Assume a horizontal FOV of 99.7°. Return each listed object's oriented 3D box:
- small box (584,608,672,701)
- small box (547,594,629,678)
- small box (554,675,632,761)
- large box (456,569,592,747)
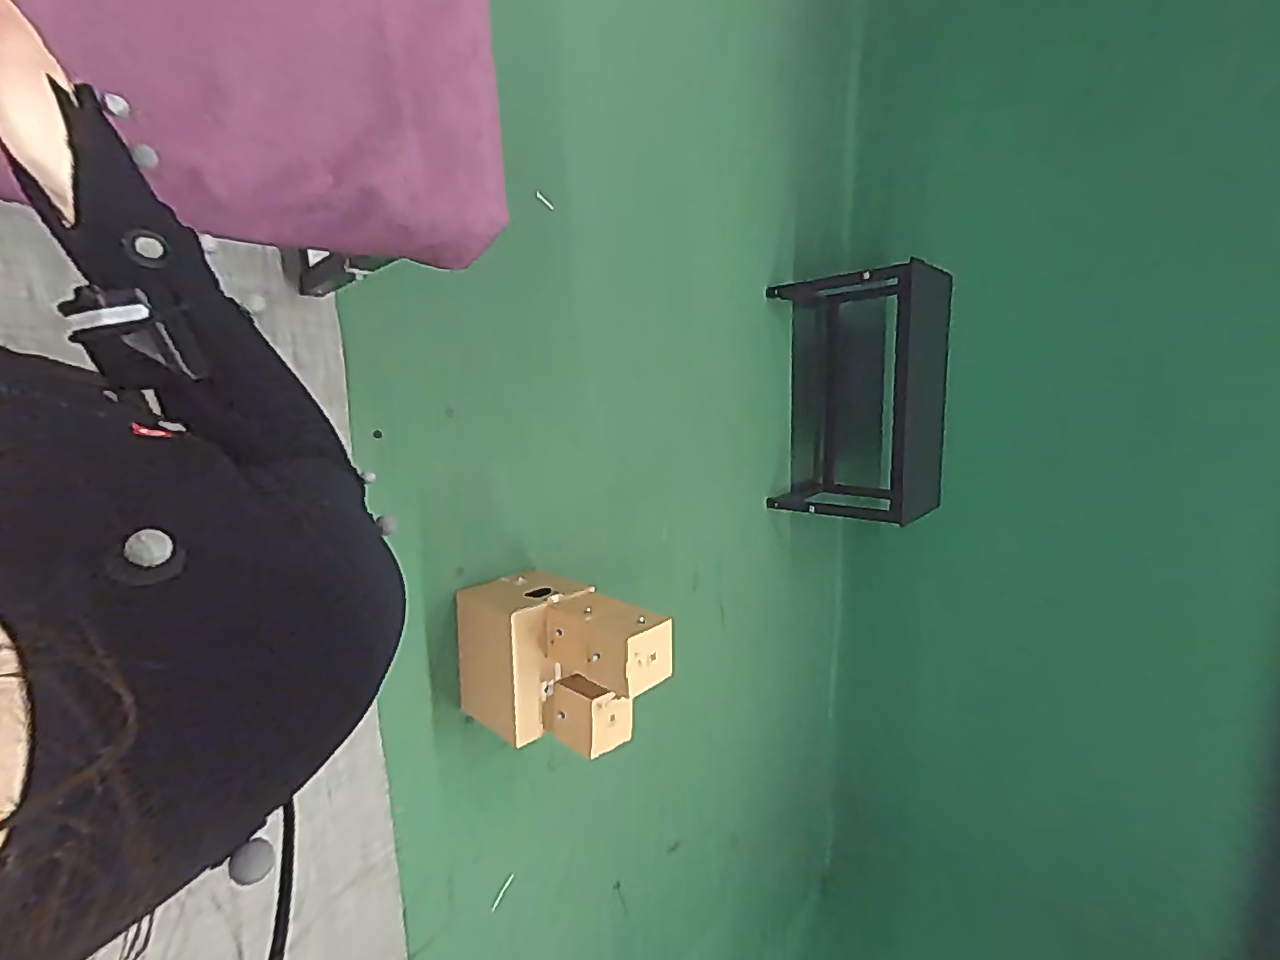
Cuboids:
[{"bbox_3d":[-0.031,0.459,1.456,0.179,0.176,0.168,-9,102,-46],"label":"small box"},{"bbox_3d":[-0.150,0.443,1.569,0.179,0.176,0.168,-8,101,-46],"label":"small box"},{"bbox_3d":[-0.142,0.689,1.603,0.168,0.176,0.179,0,94,-47],"label":"small box"},{"bbox_3d":[-0.360,0.534,1.710,0.320,0.320,0.408,-8,101,-46],"label":"large box"}]
